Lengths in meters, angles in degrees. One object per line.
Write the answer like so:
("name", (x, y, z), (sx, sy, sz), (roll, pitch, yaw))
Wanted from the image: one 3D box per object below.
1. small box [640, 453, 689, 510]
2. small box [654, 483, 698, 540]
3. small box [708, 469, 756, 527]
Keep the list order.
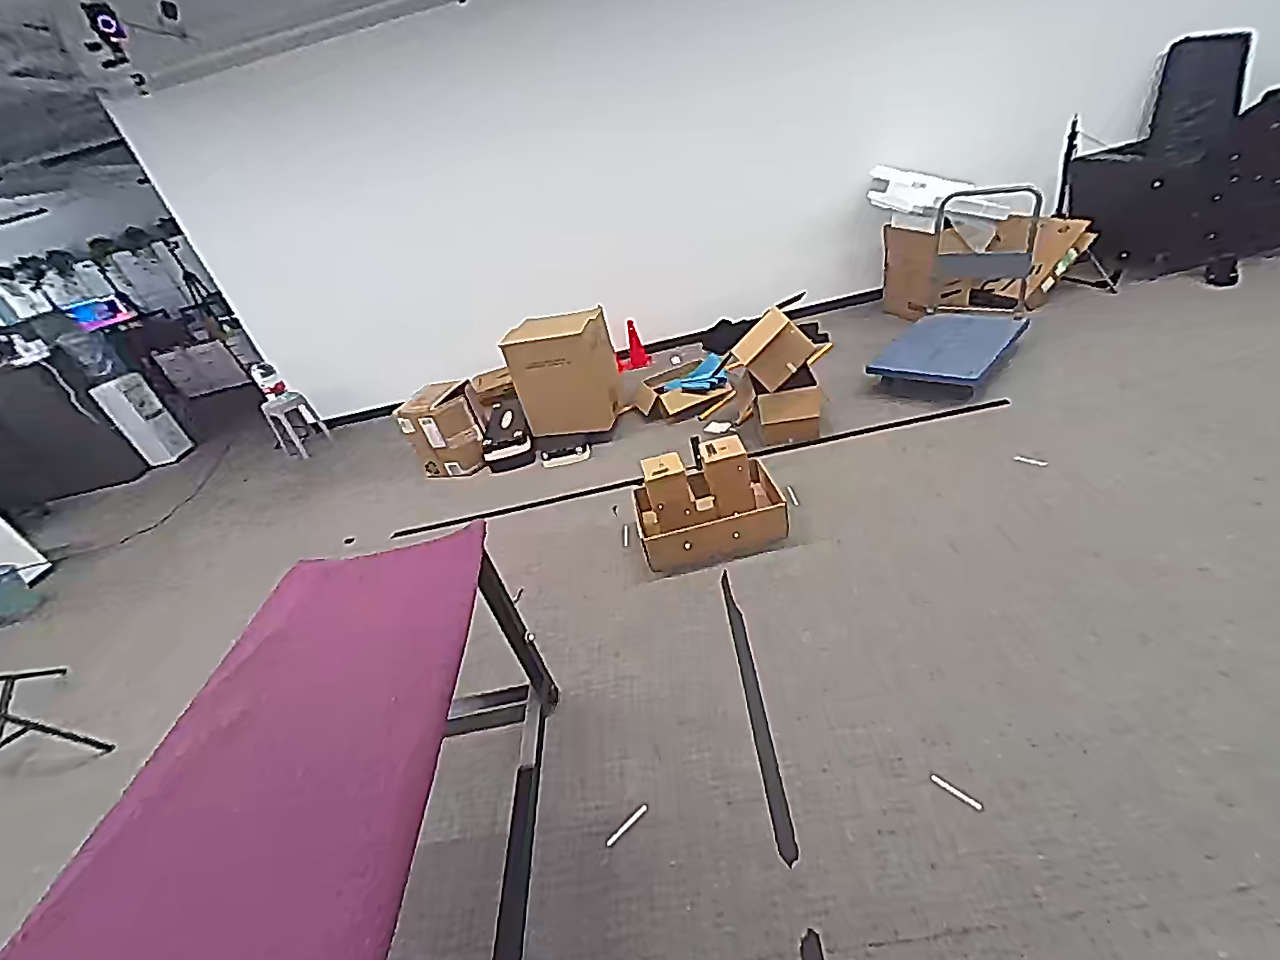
("small box", (0.105, 0.015, 2.307), (0.168, 0.176, 0.179), (-14, 31, -2))
("small box", (0.156, 0.143, 2.399), (0.179, 0.176, 0.168), (-15, 31, -1))
("small box", (0.407, 0.079, 2.397), (0.168, 0.176, 0.179), (-16, 32, 2))
